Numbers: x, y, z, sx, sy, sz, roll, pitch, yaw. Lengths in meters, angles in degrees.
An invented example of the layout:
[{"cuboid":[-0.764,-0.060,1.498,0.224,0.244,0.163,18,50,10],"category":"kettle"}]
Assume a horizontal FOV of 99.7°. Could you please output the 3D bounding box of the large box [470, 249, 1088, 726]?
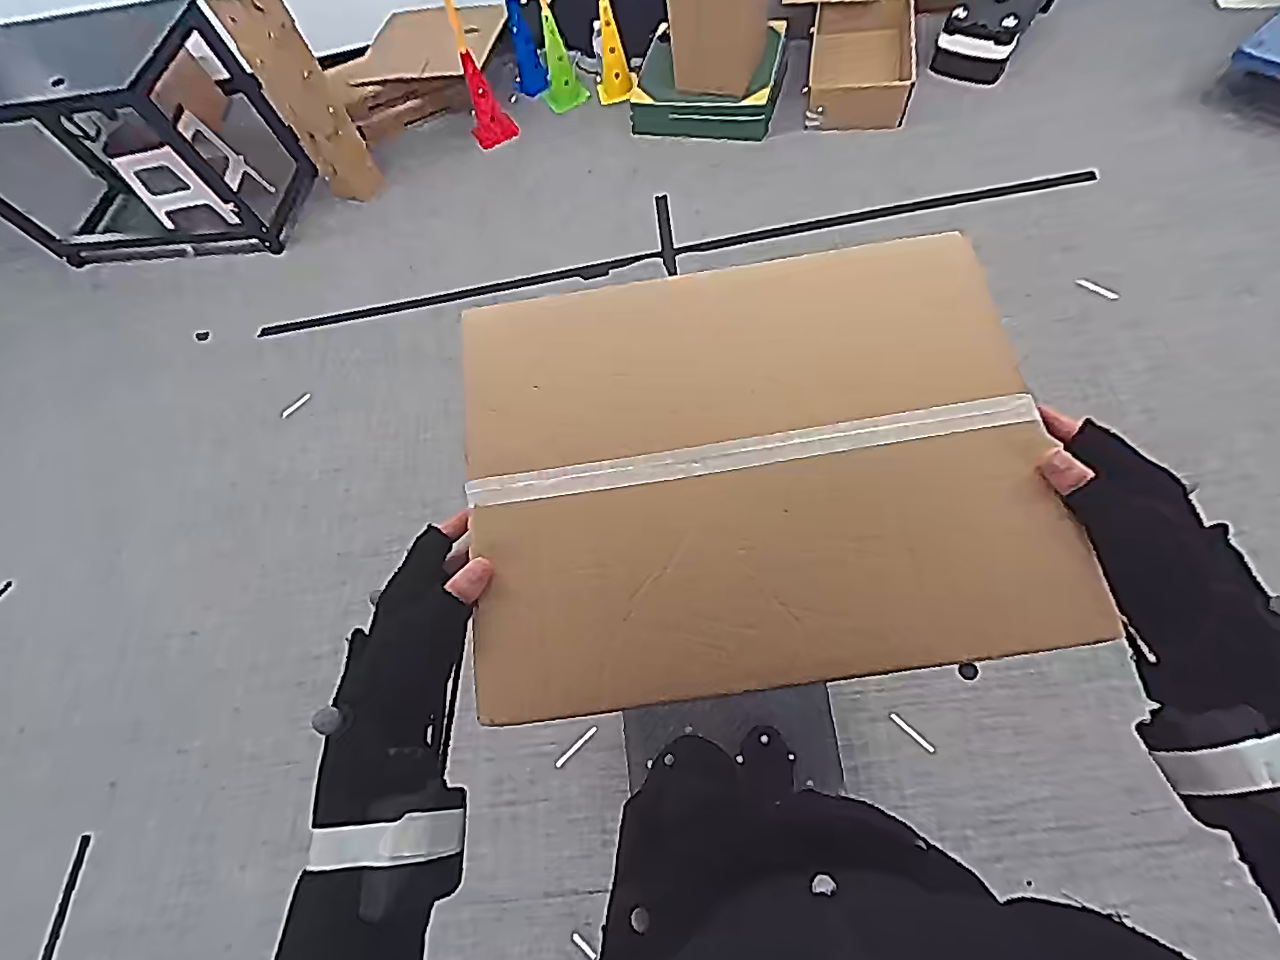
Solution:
[{"cuboid":[0.088,0.029,0.538,0.408,0.320,0.320,-8,72,1],"category":"large box"}]
